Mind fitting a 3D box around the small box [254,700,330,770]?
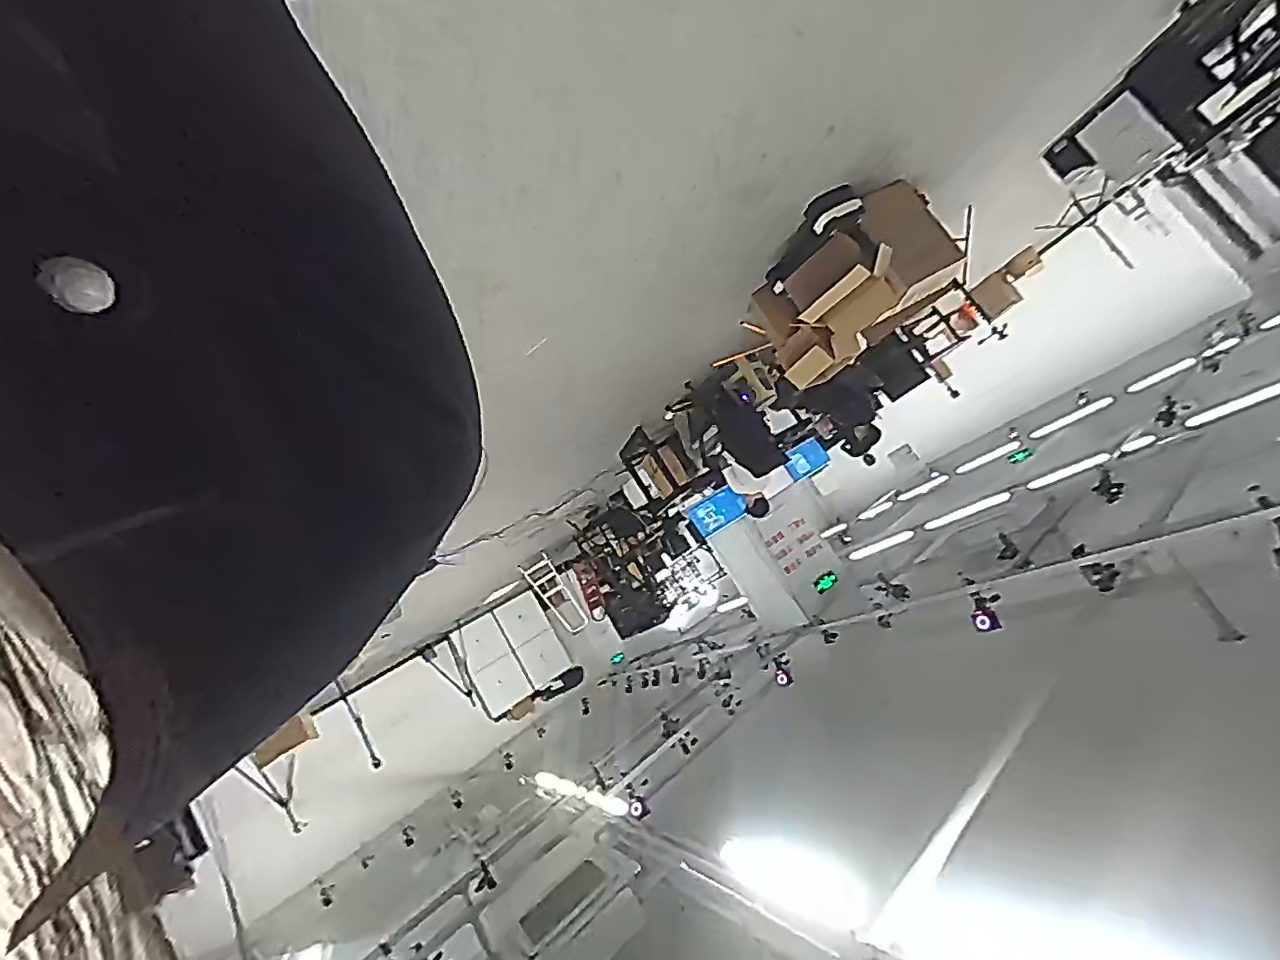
[{"bbox_3d":[-1.274,0.929,1.983,0.168,0.176,0.179,-29,168,-27],"label":"small box"}]
